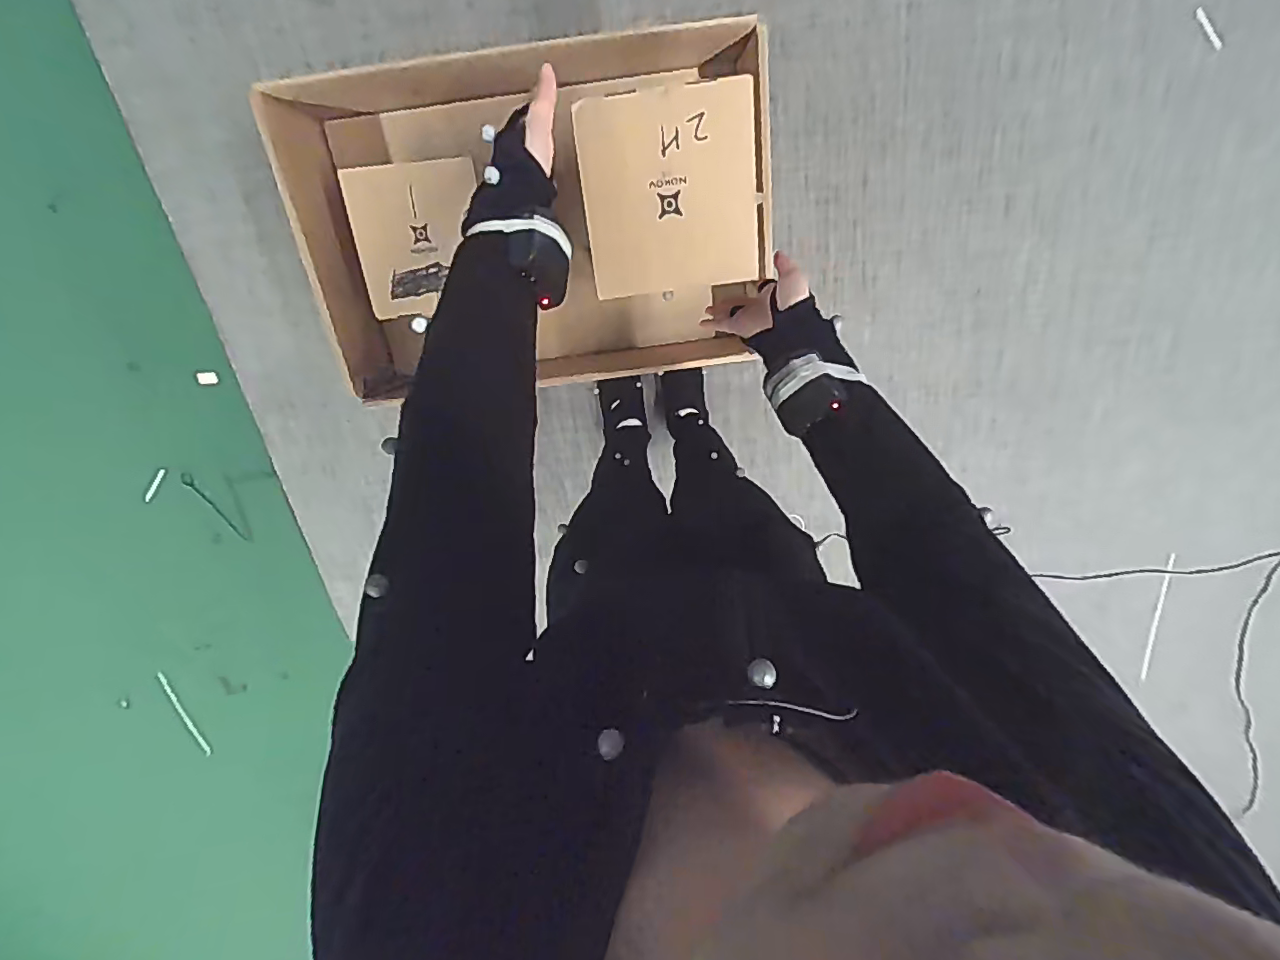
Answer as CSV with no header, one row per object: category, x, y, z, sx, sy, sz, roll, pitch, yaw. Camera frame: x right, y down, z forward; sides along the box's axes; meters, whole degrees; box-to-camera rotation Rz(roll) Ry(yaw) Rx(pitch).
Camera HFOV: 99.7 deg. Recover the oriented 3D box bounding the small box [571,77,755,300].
small box,0.027,-0.301,0.586,0.168,0.176,0.179,-6,112,2
